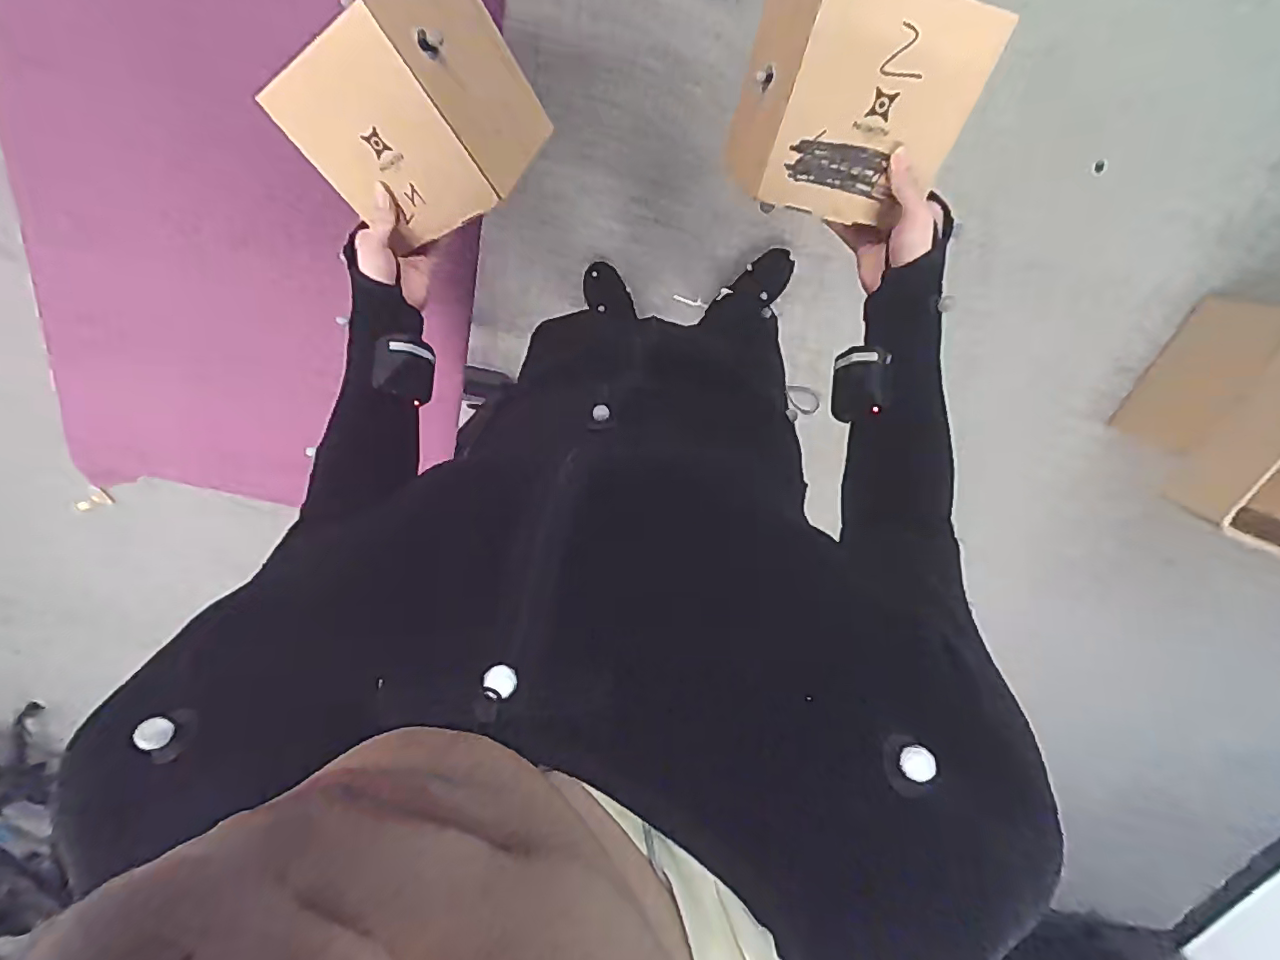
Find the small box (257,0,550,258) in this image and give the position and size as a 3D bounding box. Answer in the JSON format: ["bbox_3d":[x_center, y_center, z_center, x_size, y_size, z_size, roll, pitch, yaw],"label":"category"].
[{"bbox_3d":[-0.221,-0.369,0.548,0.168,0.176,0.179,-7,139,29],"label":"small box"}]
